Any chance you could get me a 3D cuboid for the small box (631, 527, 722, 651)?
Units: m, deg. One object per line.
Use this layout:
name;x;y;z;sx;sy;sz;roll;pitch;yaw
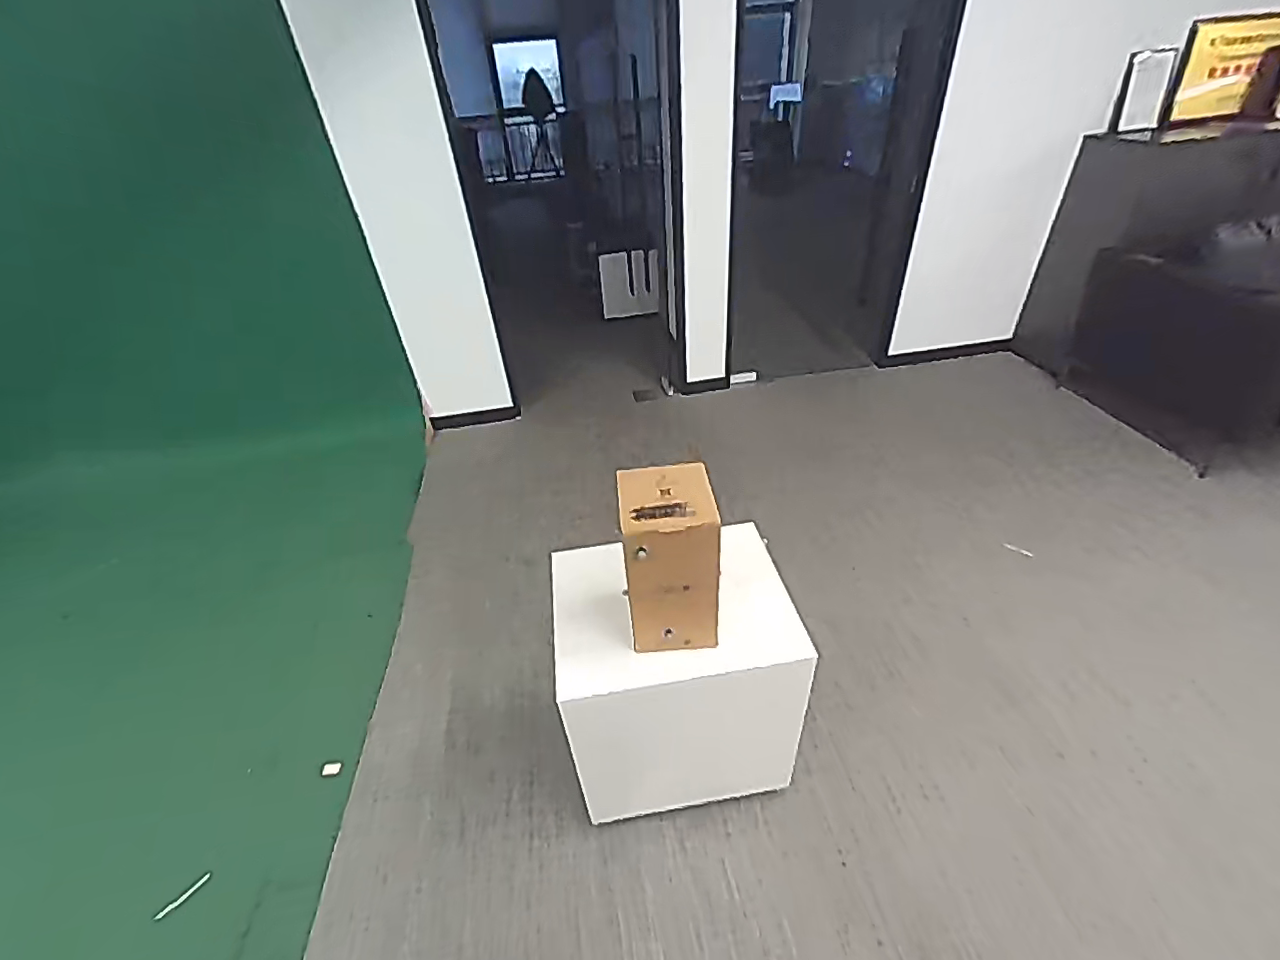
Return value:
small box;0.067;0.218;1.088;0.168;0.176;0.179;-5;37;0
